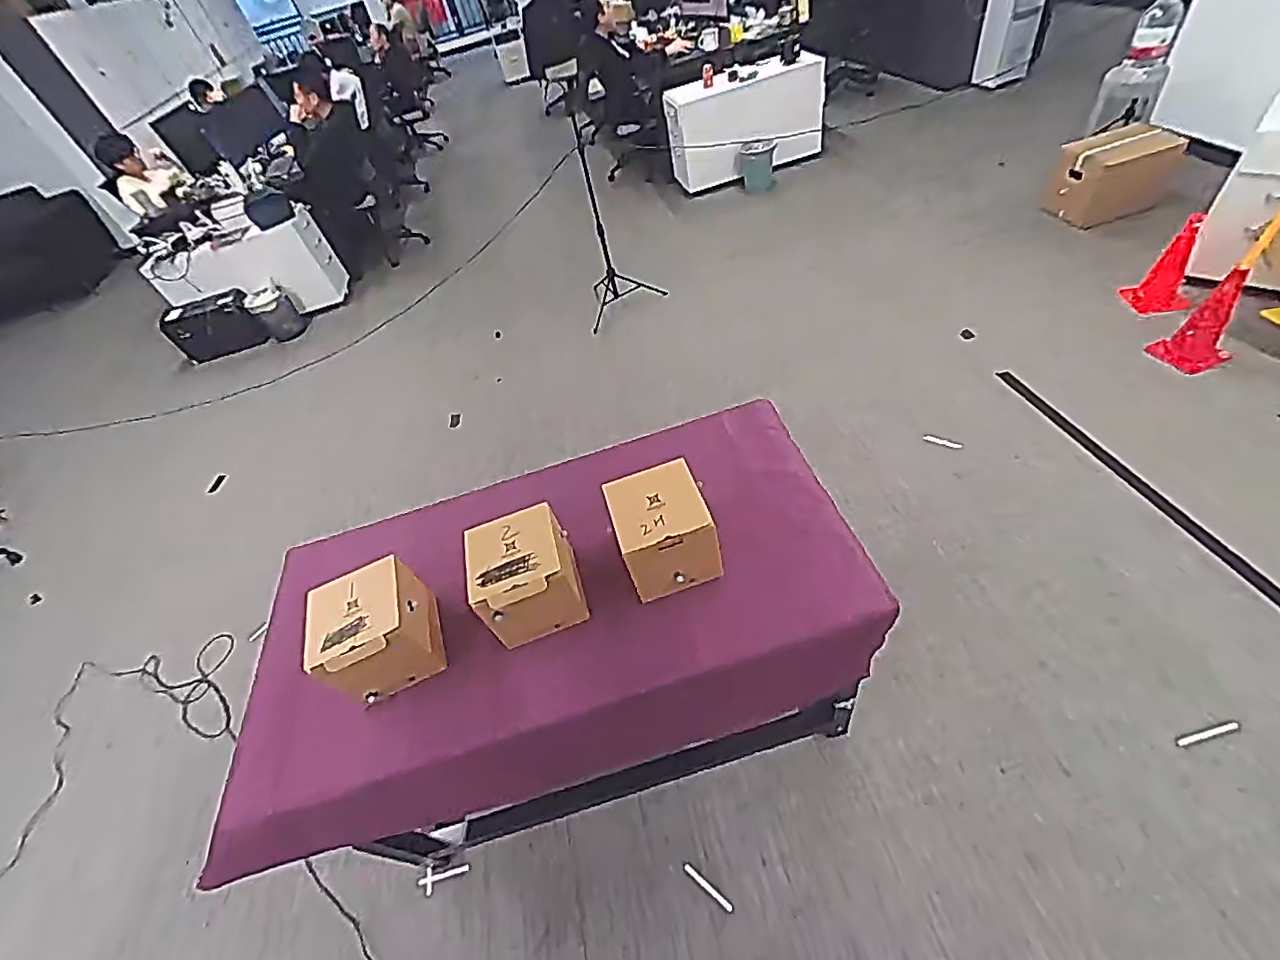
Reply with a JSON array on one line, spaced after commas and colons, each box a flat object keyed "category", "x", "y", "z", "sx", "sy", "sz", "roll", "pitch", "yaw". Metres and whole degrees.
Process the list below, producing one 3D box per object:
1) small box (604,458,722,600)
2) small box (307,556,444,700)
[{"category": "small box", "x": 0.045, "y": 0.094, "z": 1.018, "sx": 0.168, "sy": 0.176, "sz": 0.179, "roll": -19, "pitch": 47, "yaw": -1}, {"category": "small box", "x": -0.481, "y": 0.280, "z": 0.998, "sx": 0.168, "sy": 0.176, "sz": 0.179, "roll": -25, "pitch": 47, "yaw": -7}]
